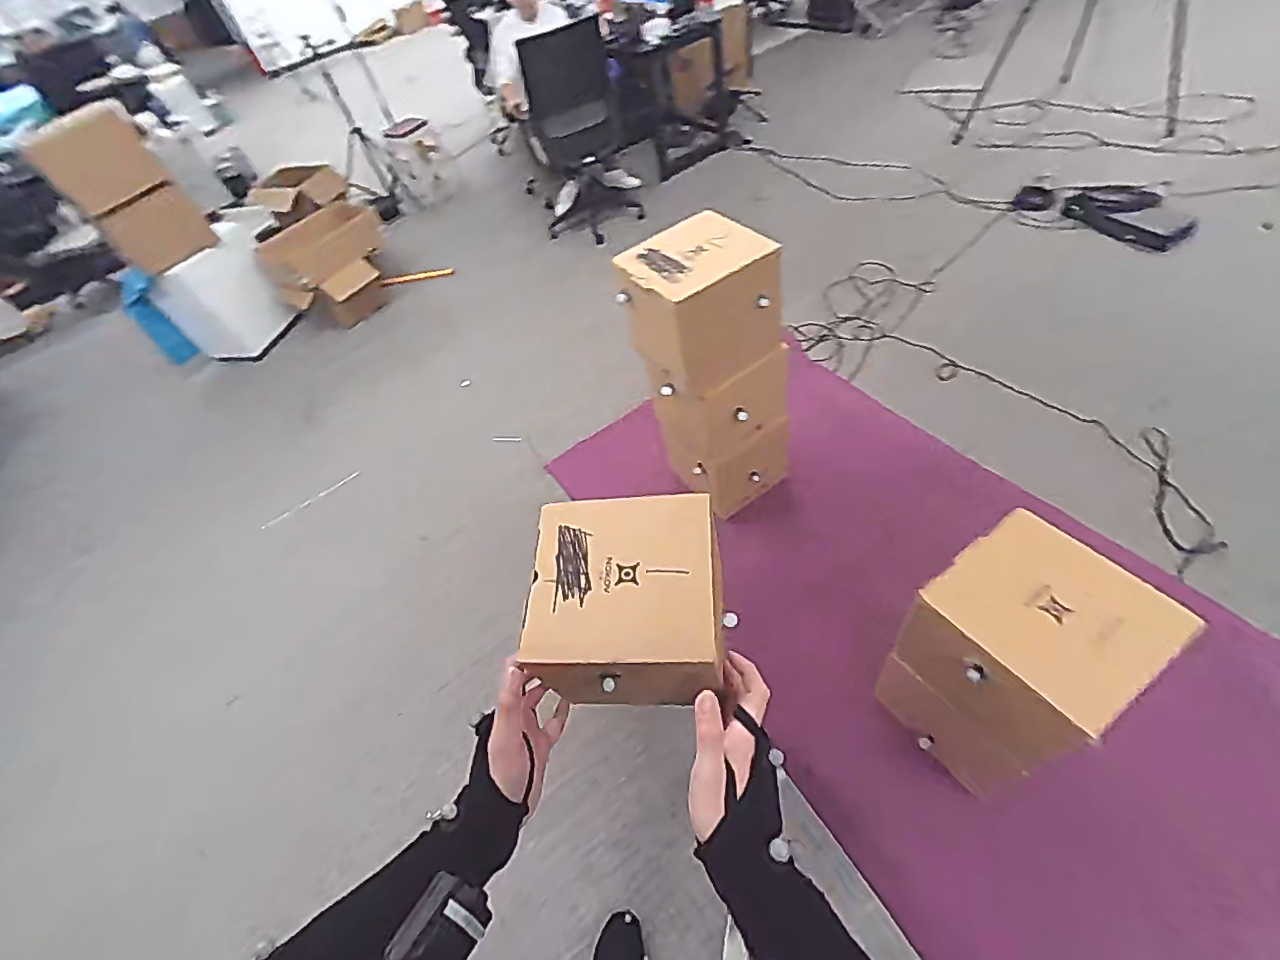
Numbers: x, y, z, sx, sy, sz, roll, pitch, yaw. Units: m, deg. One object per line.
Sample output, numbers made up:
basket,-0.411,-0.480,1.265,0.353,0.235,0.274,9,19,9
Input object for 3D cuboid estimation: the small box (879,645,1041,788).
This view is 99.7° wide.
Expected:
small box,0.446,0.274,0.709,0.168,0.176,0.179,-34,52,-13

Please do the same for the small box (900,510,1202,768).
small box,0.413,0.173,0.584,0.168,0.176,0.179,-33,51,-11

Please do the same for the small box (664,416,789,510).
small box,0.172,-0.065,1.054,0.168,0.176,0.179,-32,52,-12

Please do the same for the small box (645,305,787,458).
small box,0.136,-0.162,0.929,0.168,0.176,0.179,-33,51,-11

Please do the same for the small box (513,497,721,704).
small box,-0.010,0.135,0.574,0.179,0.176,0.168,-4,56,10
